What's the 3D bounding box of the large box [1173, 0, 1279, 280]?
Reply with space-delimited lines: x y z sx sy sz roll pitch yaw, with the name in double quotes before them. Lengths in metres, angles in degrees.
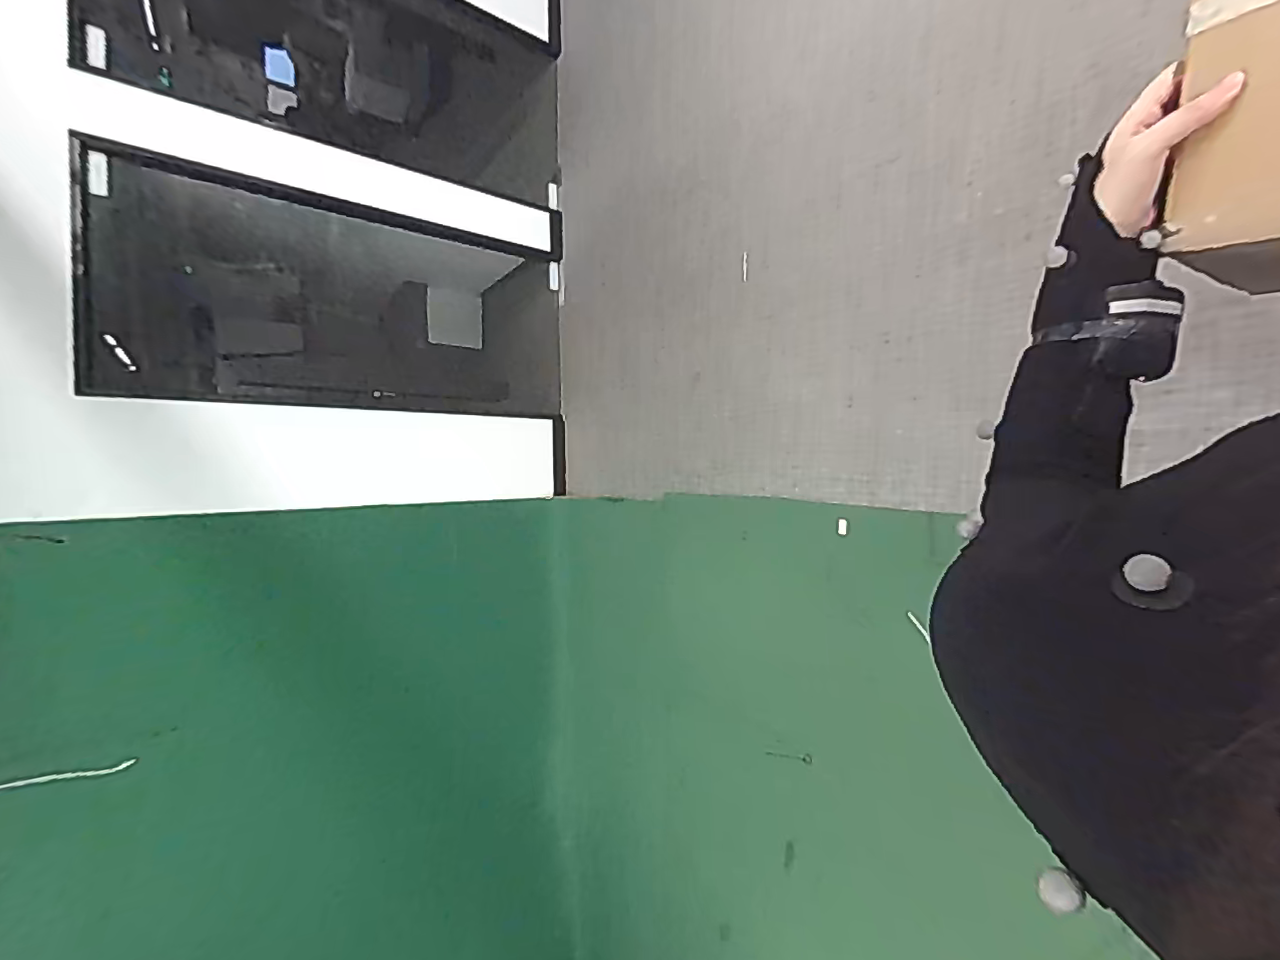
"large box" 0.638 -0.320 0.305 0.408 0.320 0.320 13 105 57
